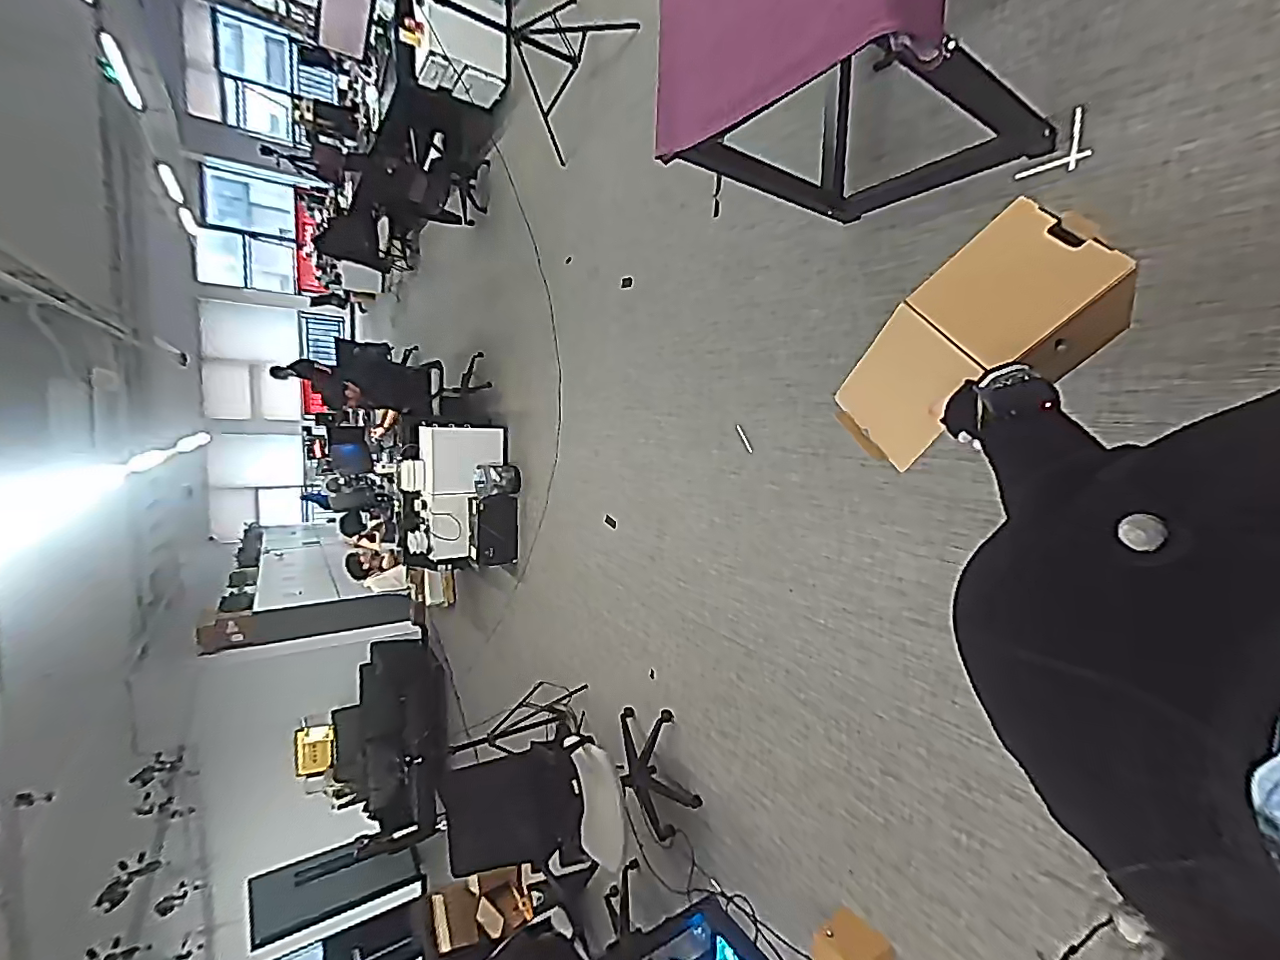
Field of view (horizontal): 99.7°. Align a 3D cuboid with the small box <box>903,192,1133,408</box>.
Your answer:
[{"bbox_3d":[0.491,-0.222,0.710,0.179,0.176,0.168,-44,55,22],"label":"small box"}]
